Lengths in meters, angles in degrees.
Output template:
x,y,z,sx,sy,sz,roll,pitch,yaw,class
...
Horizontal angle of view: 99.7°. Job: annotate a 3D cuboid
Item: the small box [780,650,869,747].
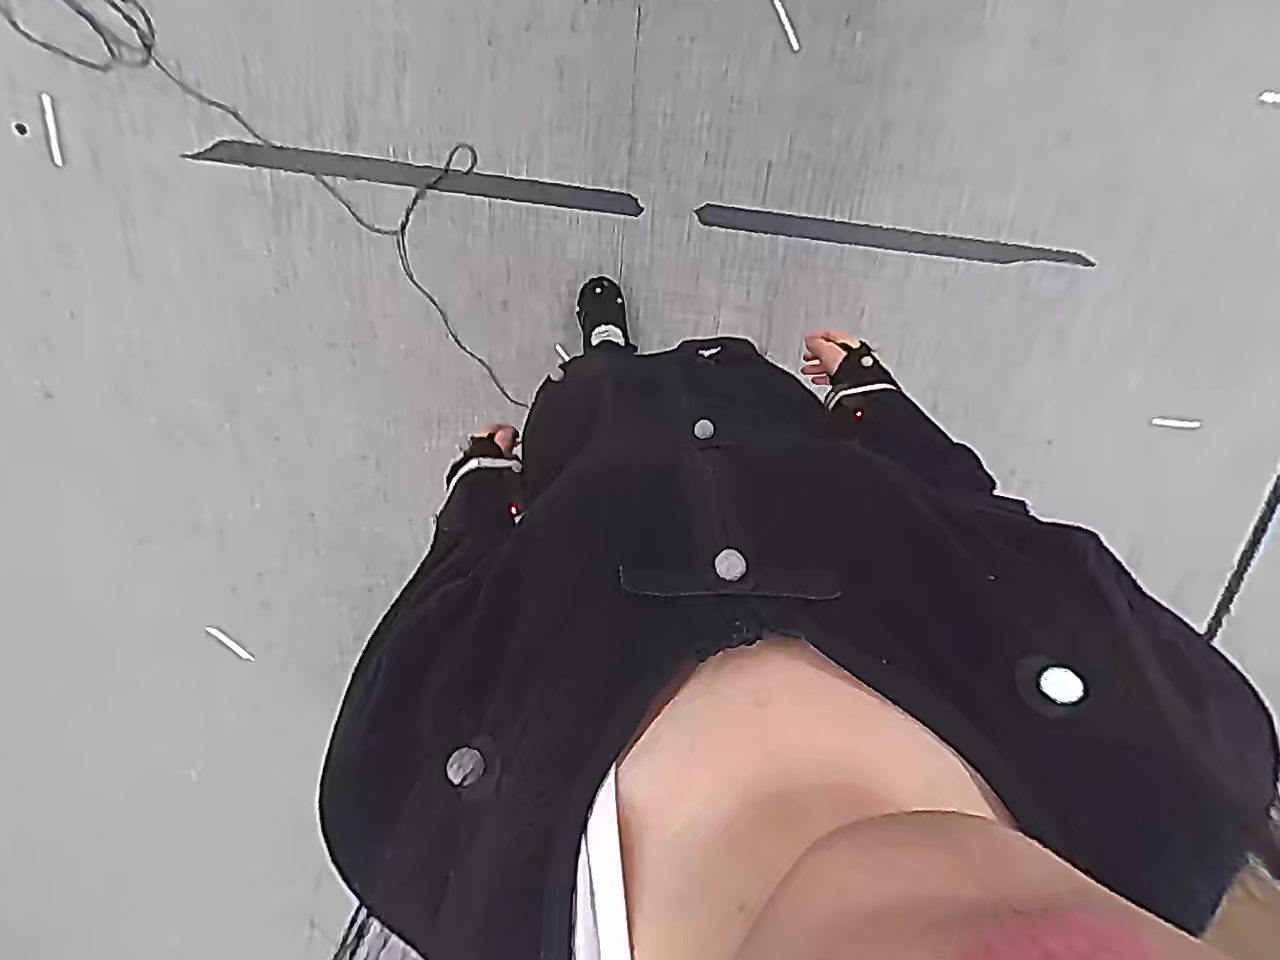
x,y,z,sx,sy,sz,roll,pitch,yaw,class
0.555,0.658,1.642,0.168,0.176,0.179,-35,107,7,small box
